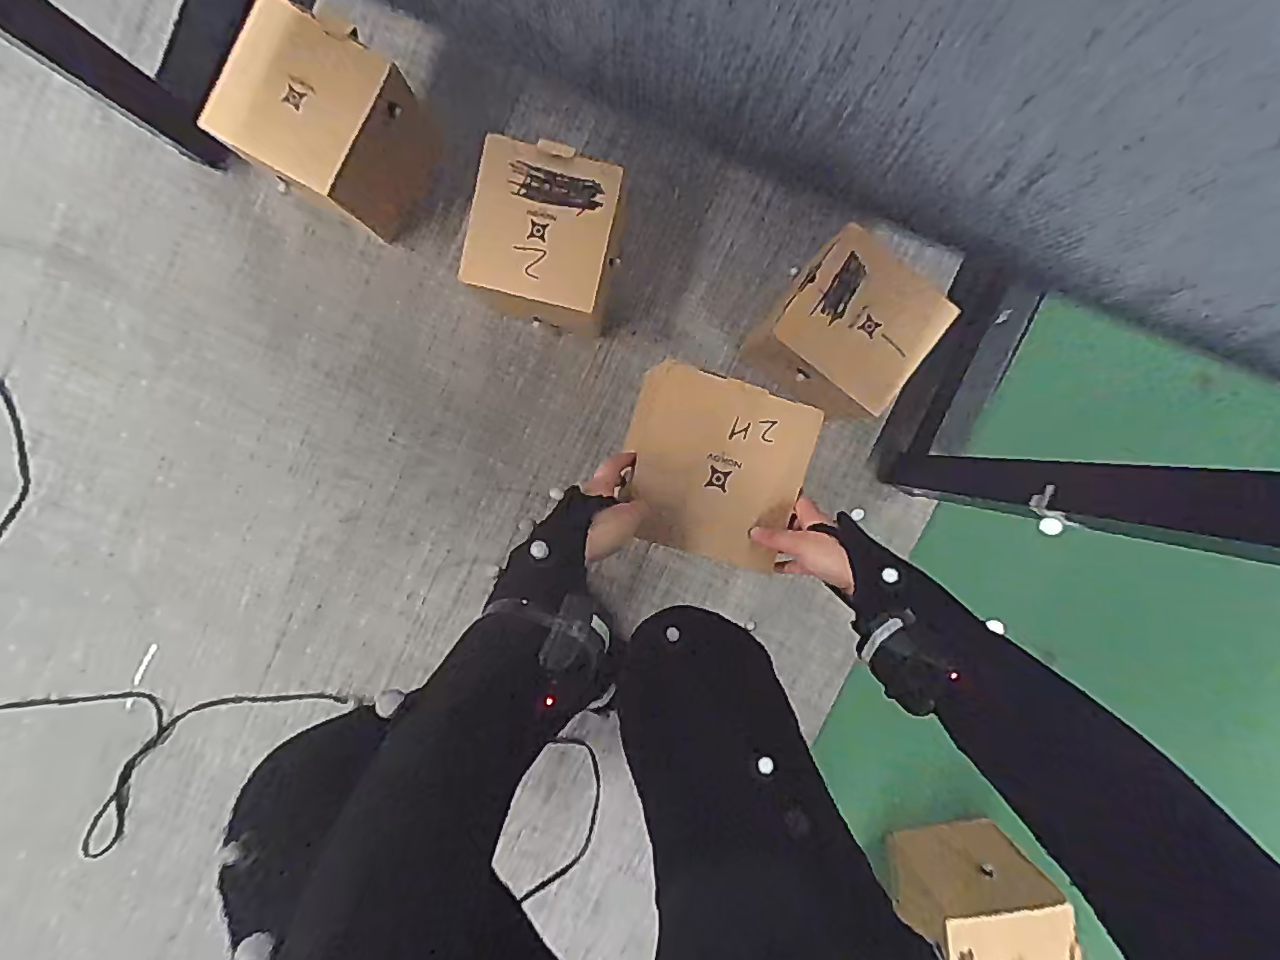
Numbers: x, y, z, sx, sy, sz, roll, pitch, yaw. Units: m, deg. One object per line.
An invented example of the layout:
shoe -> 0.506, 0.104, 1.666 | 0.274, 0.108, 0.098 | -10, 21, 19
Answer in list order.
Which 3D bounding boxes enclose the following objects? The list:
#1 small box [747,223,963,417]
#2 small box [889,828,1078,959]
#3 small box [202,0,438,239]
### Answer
small box -> 0.270, -0.196, 0.725 | 0.179, 0.176, 0.168 | 37, 94, -5
small box -> 0.496, 0.650, 0.797 | 0.179, 0.176, 0.168 | -7, 95, -1
small box -> -0.390, -0.447, 0.694 | 0.168, 0.176, 0.179 | 29, 93, -3
